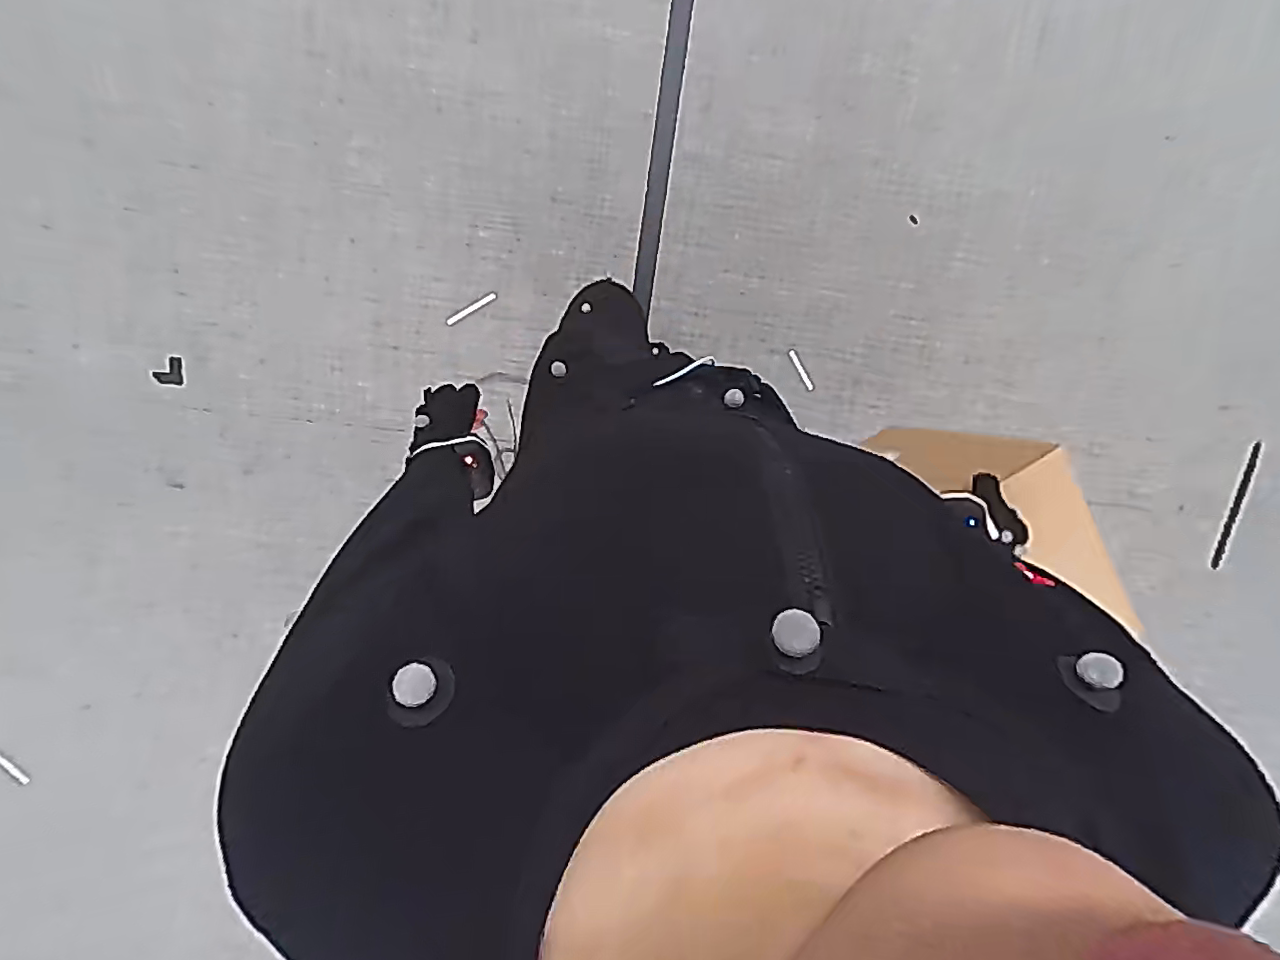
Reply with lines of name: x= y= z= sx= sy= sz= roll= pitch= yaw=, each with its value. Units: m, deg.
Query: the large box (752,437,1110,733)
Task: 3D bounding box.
large box: x=0.453 y=0.139 z=0.933 sx=0.320 sy=0.408 sz=0.320 roll=-29 pitch=99 yaw=-2
